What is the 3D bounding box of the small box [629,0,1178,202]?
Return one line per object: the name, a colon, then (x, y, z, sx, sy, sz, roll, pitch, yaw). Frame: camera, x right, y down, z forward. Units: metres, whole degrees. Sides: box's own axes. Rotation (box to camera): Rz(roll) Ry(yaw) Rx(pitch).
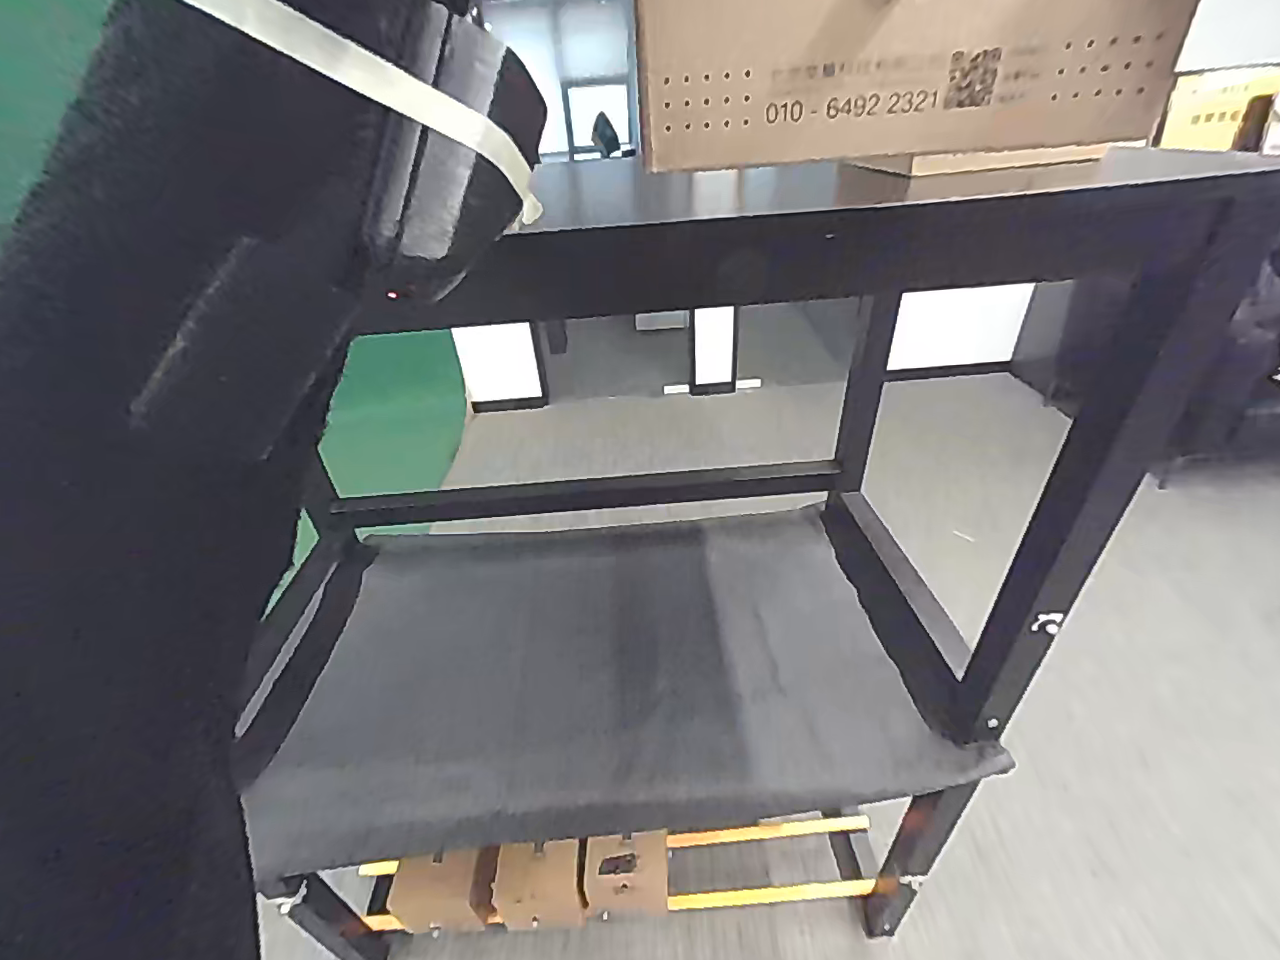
small box: (0.081, -0.214, 0.216, 0.168, 0.176, 0.179, -2, 33, 5)
